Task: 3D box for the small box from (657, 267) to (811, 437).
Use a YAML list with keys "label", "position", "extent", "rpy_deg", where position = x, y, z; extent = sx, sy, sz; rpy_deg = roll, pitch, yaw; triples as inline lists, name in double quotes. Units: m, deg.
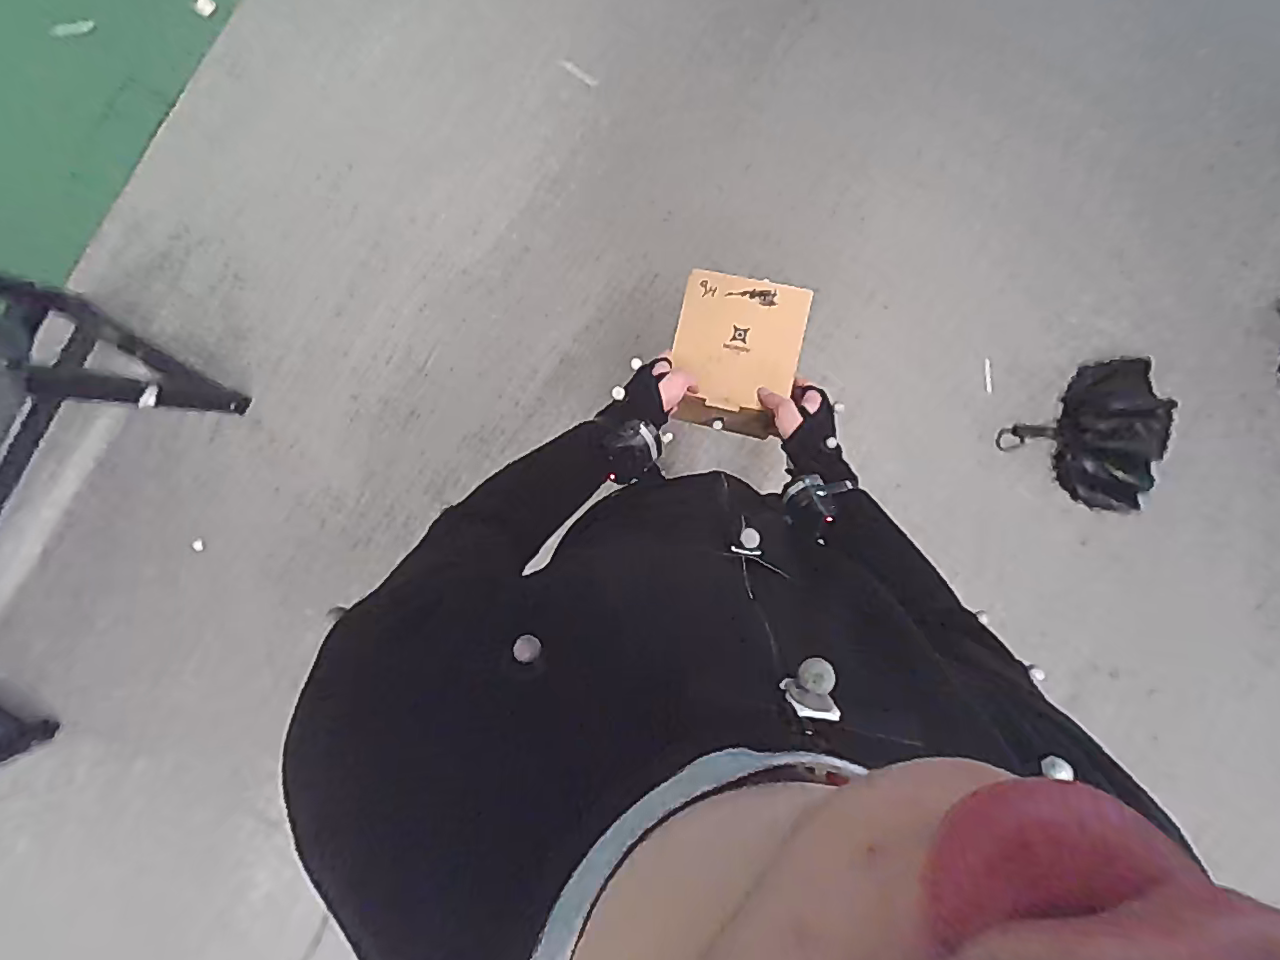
- label: "small box"
  position: [0.129, -0.170, 0.771]
  extent: [0.168, 0.176, 0.179]
  rpy_deg: [14, 86, 7]
